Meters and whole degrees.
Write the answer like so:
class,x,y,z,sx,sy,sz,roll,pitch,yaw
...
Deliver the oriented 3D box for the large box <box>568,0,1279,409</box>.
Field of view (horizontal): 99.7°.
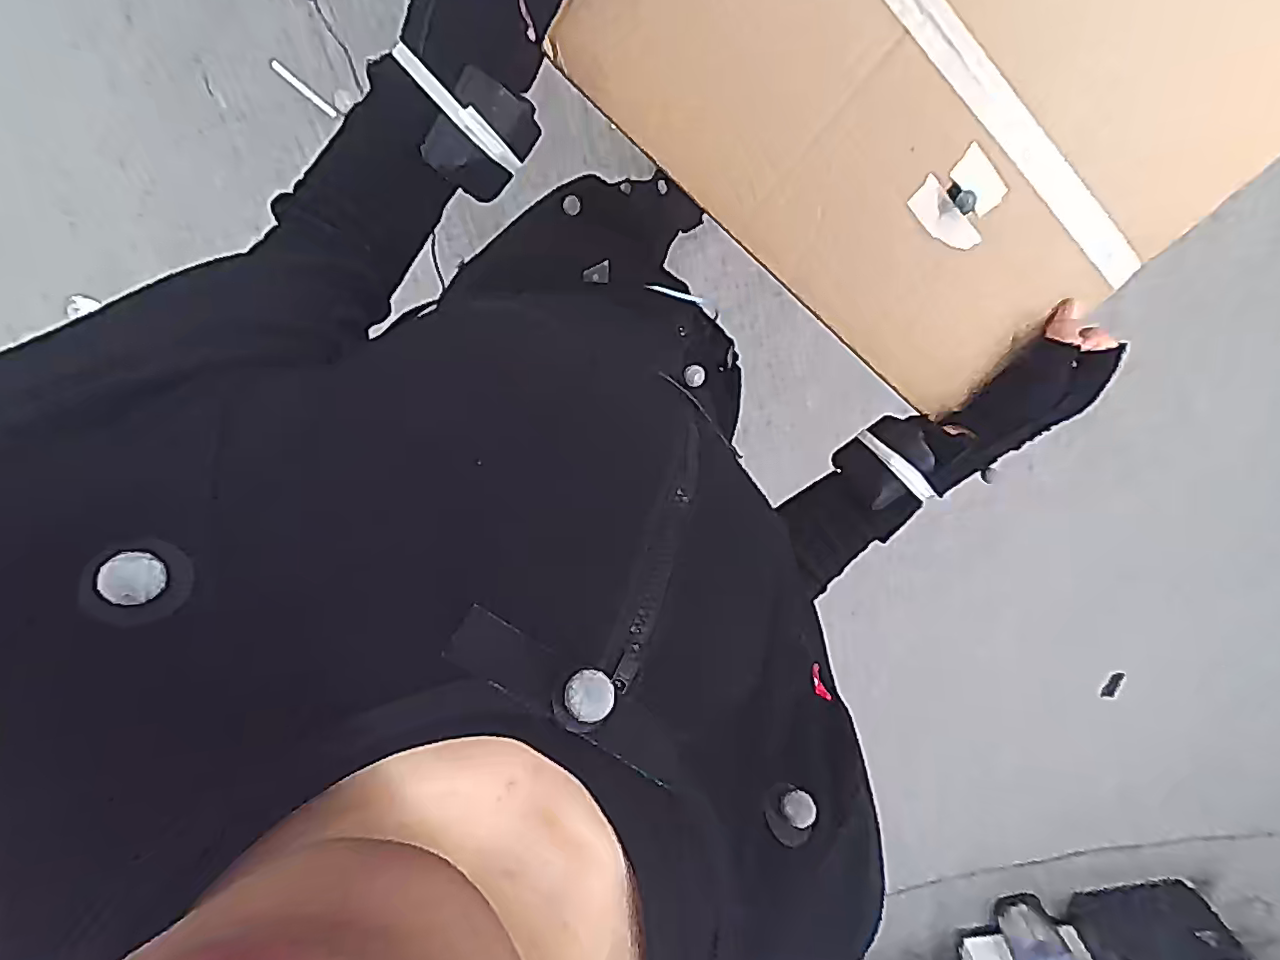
class,x,y,z,sx,sy,sz,roll,pitch,yaw
large box,0.202,-0.343,0.465,0.408,0.320,0.320,35,119,-19
